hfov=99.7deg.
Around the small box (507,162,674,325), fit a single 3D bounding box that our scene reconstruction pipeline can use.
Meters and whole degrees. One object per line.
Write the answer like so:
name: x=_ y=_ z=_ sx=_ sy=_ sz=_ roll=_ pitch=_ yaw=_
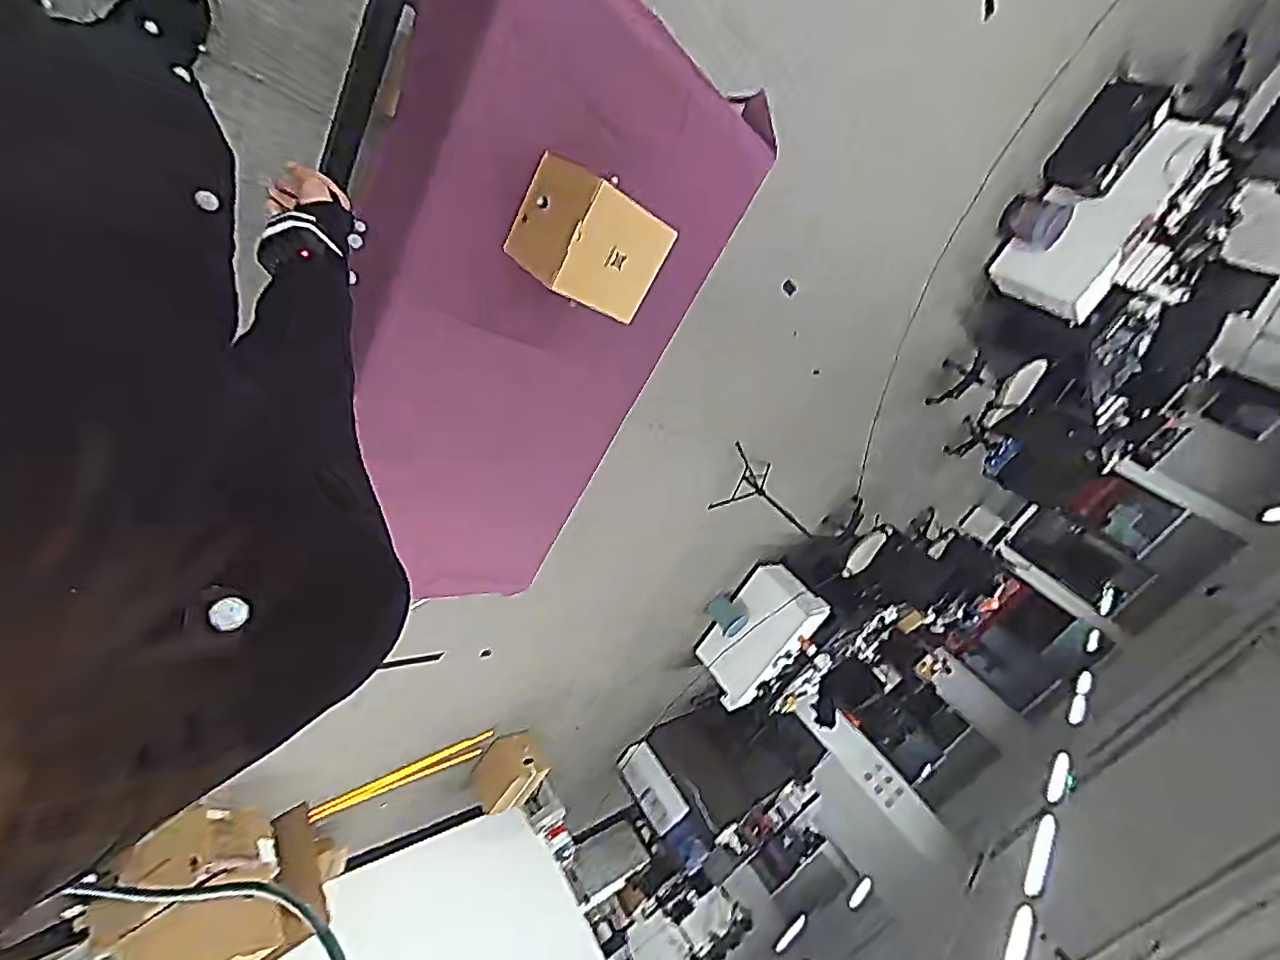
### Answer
small box: x=-0.085 y=-0.387 z=0.886 sx=0.179 sy=0.176 sz=0.168 roll=8 pitch=121 yaw=-48
